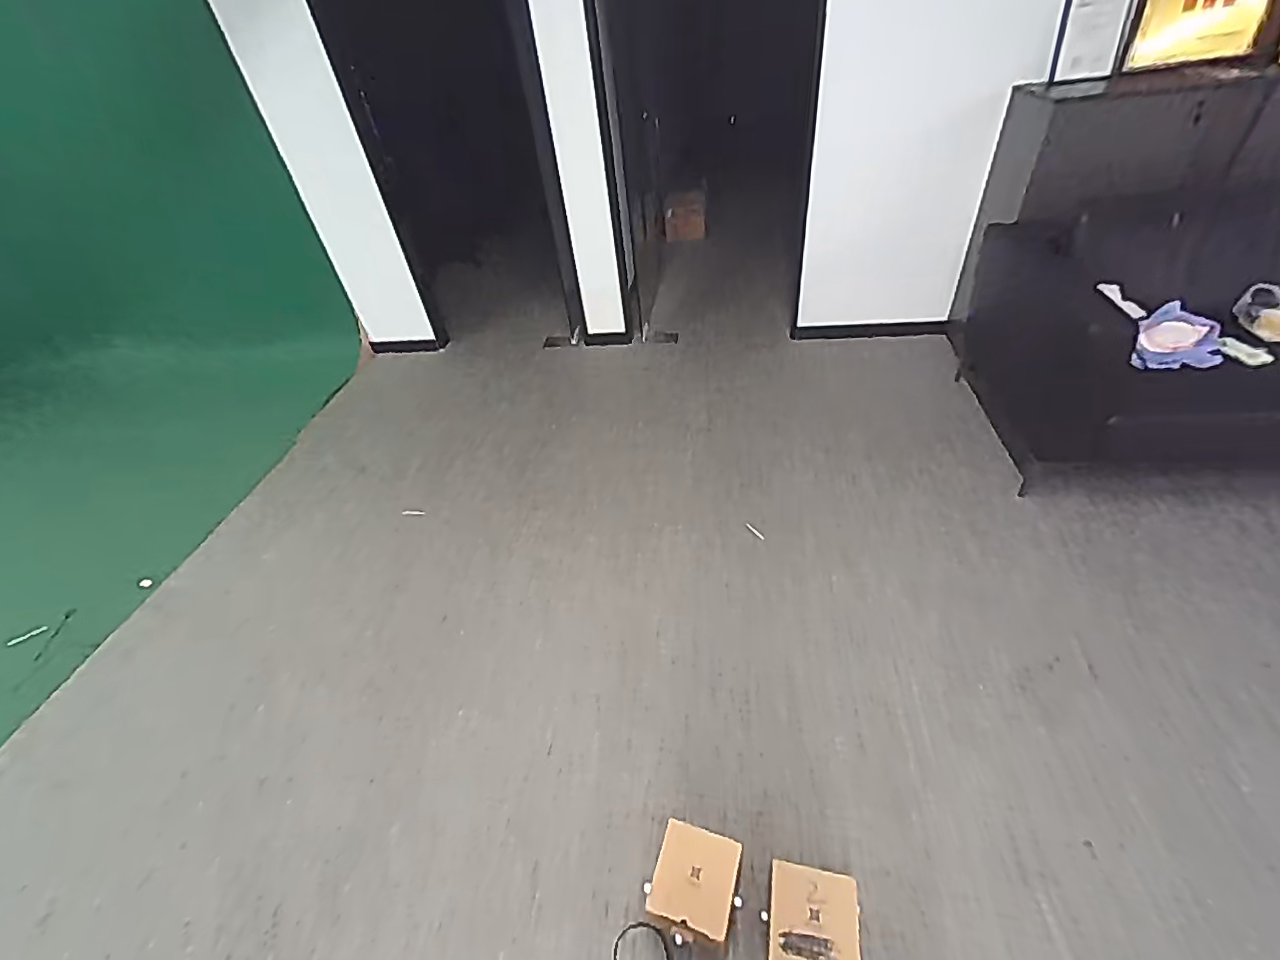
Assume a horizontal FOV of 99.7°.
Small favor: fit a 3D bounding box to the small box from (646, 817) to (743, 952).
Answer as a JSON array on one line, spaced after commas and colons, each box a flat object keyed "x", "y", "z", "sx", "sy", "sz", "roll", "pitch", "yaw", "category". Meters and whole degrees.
[{"x": 0.123, "y": 0.882, "z": 1.179, "sx": 0.168, "sy": 0.176, "sz": 0.179, "roll": 9, "pitch": 45, "yaw": 19, "category": "small box"}]
